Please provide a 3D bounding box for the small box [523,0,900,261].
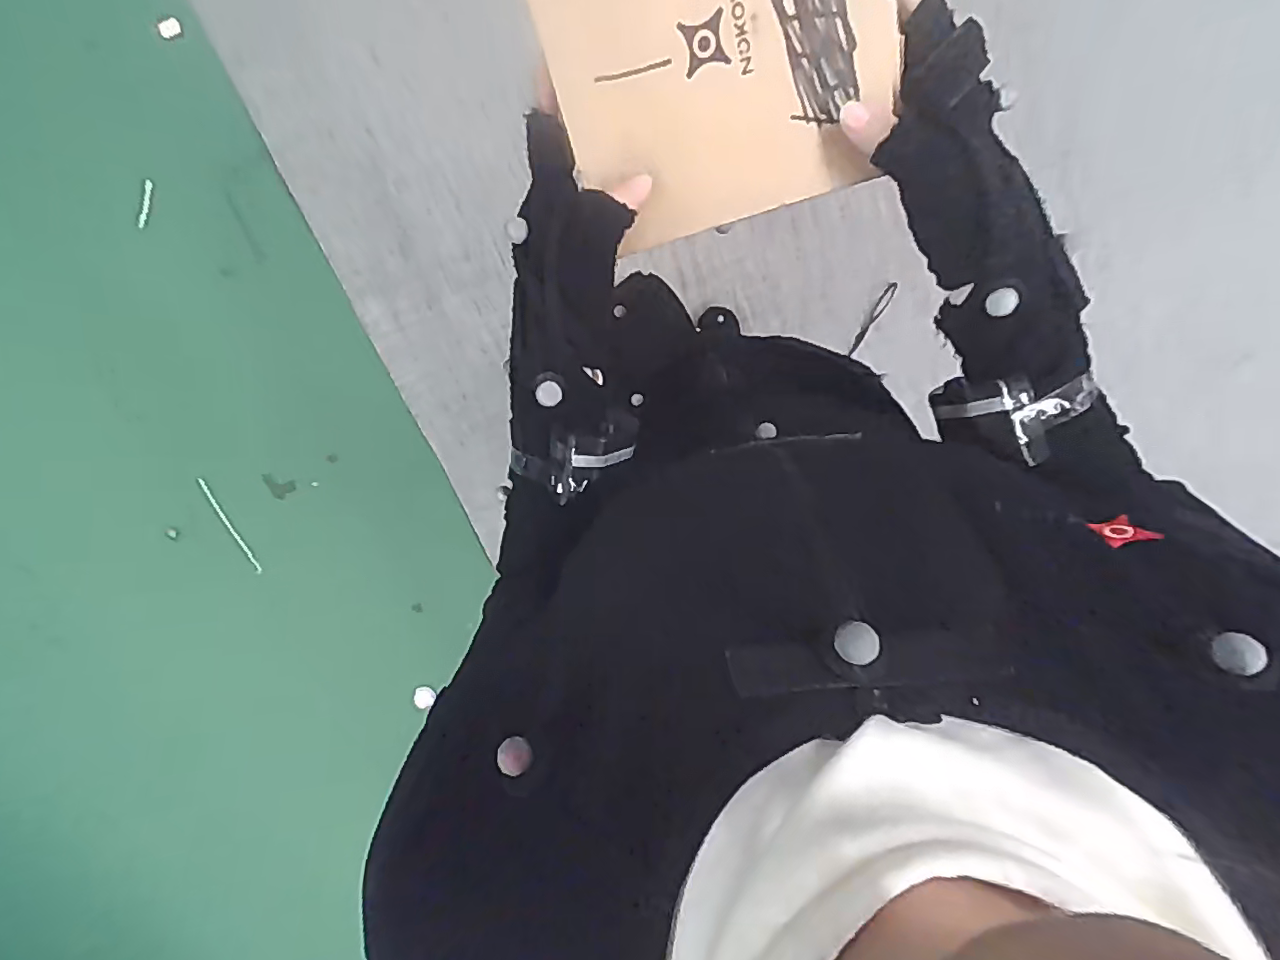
[{"bbox_3d":[0.036,-0.264,0.343,0.179,0.176,0.168,-17,121,9],"label":"small box"}]
